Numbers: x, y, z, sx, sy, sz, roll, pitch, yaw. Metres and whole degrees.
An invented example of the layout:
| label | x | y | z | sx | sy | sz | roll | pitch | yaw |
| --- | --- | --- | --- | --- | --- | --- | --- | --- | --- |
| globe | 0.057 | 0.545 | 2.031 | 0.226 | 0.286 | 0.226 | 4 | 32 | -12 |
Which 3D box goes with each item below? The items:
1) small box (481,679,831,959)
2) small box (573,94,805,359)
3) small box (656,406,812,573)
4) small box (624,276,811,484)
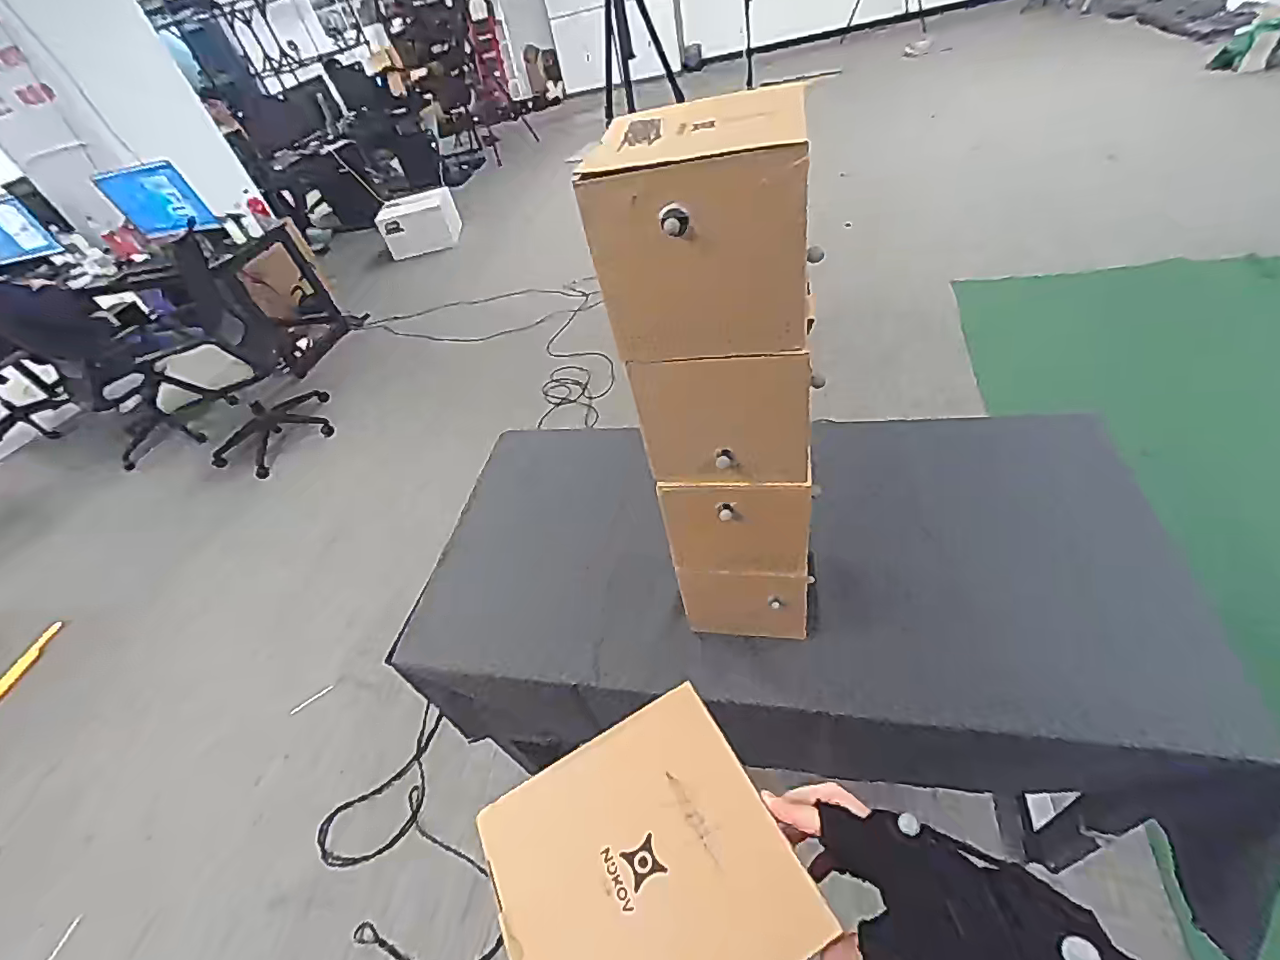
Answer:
| label | x | y | z | sx | sy | sz | roll | pitch | yaw |
| --- | --- | --- | --- | --- | --- | --- | --- | --- | --- |
| small box | 0.015 | 0.288 | 0.393 | 0.179 | 0.176 | 0.168 | -27 | 48 | -10 |
| small box | 0.061 | -0.226 | 0.503 | 0.179 | 0.176 | 0.168 | 0 | 46 | 16 |
| small box | 0.132 | 0.010 | 0.720 | 0.179 | 0.176 | 0.168 | -1 | 45 | 15 |
| small box | 0.099 | -0.109 | 0.613 | 0.179 | 0.176 | 0.168 | 1 | 46 | 17 |
